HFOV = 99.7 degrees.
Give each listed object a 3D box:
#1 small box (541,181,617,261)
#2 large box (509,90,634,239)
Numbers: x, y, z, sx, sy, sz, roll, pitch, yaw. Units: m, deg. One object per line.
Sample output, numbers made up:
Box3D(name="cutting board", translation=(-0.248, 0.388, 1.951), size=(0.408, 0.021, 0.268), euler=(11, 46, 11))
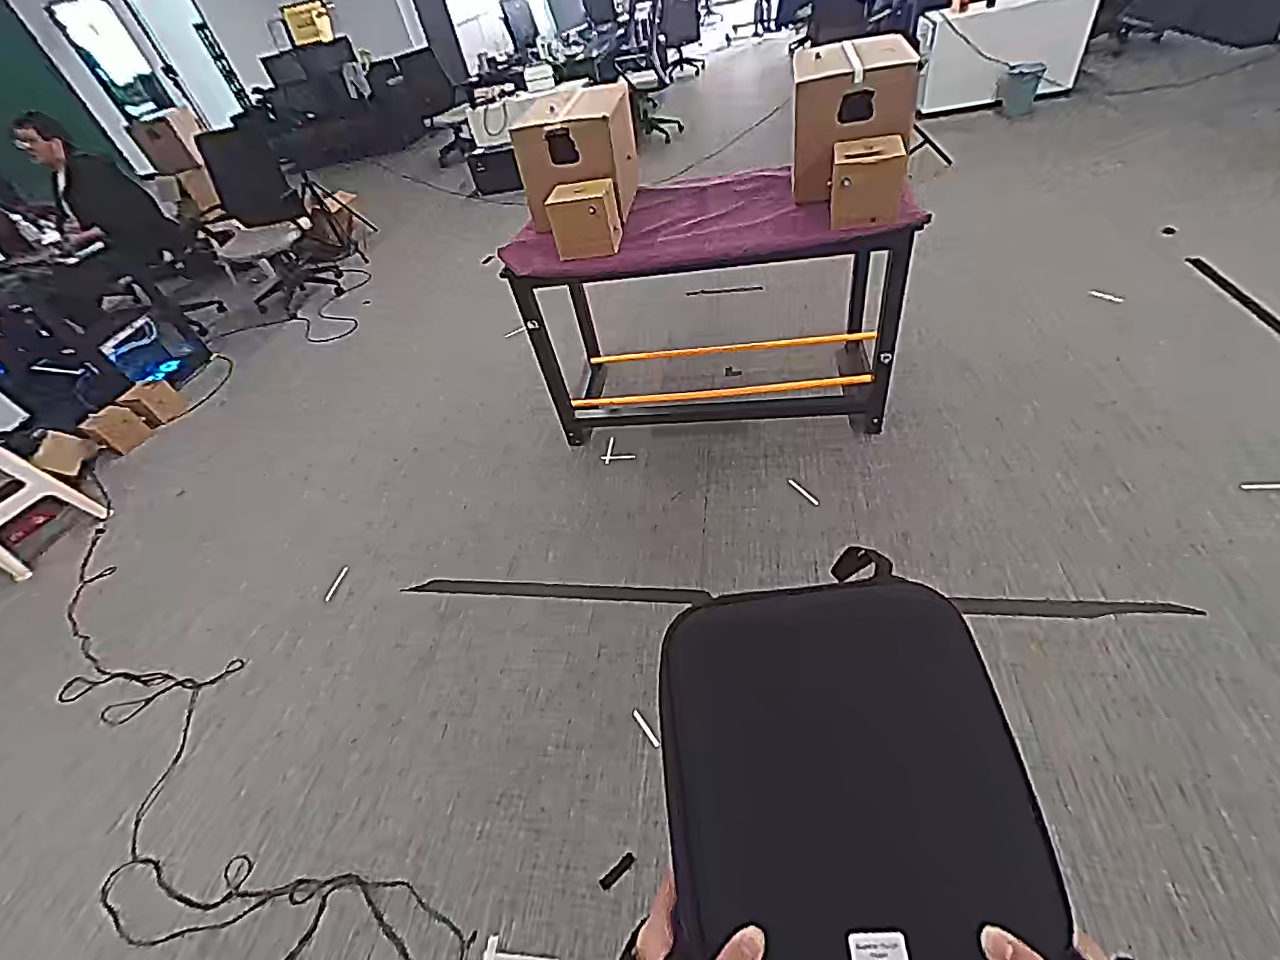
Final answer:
Box3D(name="small box", translation=(-0.177, -0.776, 1.632), size=(0.179, 0.176, 0.168), euler=(-3, 44, 10))
Box3D(name="large box", translation=(-0.207, -1.065, 1.825), size=(0.320, 0.320, 0.408), euler=(-1, 48, 11))
